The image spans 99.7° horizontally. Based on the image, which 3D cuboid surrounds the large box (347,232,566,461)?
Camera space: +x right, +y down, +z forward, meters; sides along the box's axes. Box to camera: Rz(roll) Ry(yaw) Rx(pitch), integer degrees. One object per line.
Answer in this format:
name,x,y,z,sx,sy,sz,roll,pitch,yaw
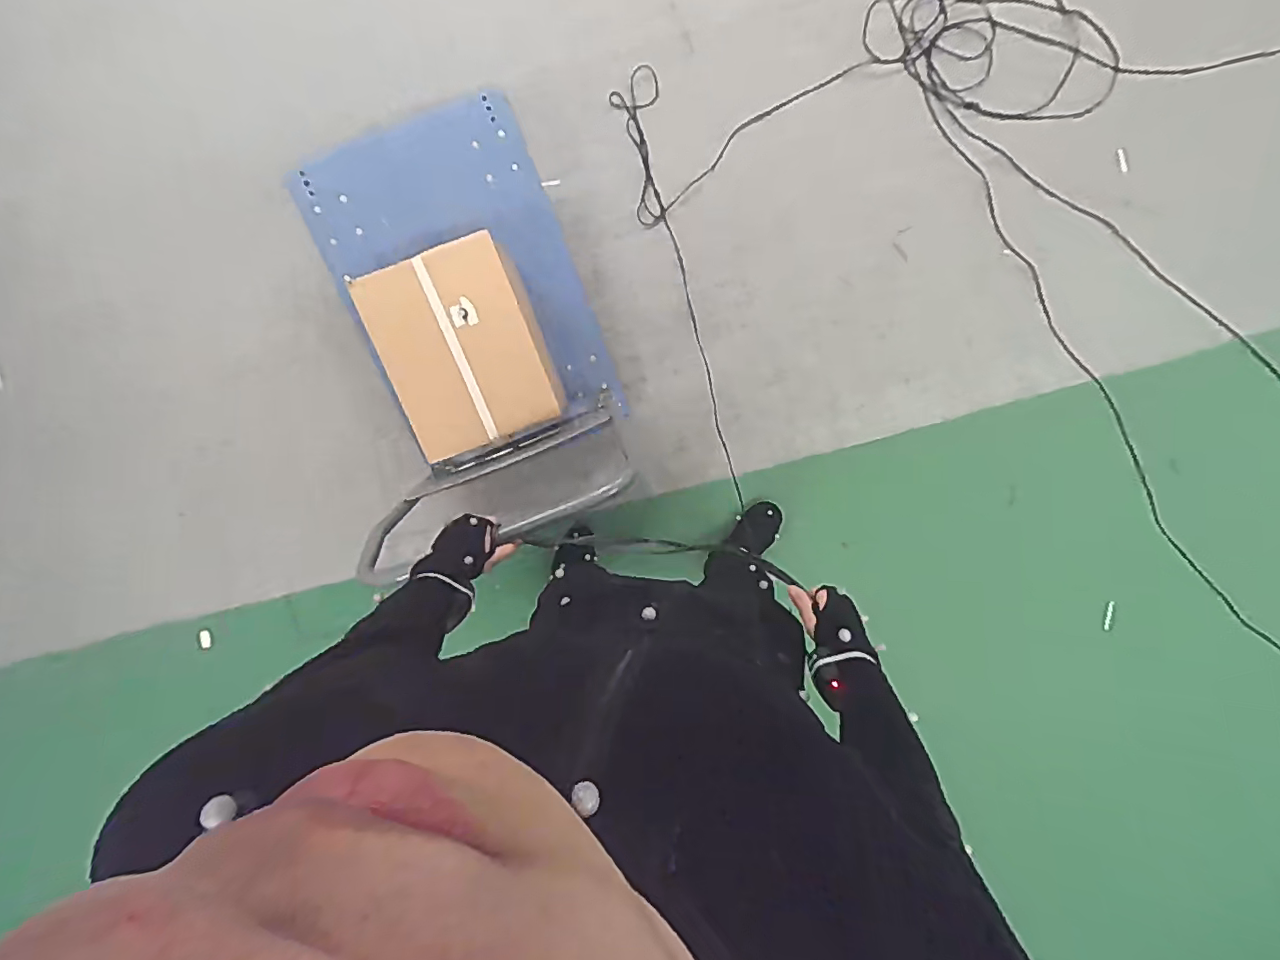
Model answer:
large box,-0.399,-0.302,1.289,0.320,0.320,0.408,-21,102,-1
